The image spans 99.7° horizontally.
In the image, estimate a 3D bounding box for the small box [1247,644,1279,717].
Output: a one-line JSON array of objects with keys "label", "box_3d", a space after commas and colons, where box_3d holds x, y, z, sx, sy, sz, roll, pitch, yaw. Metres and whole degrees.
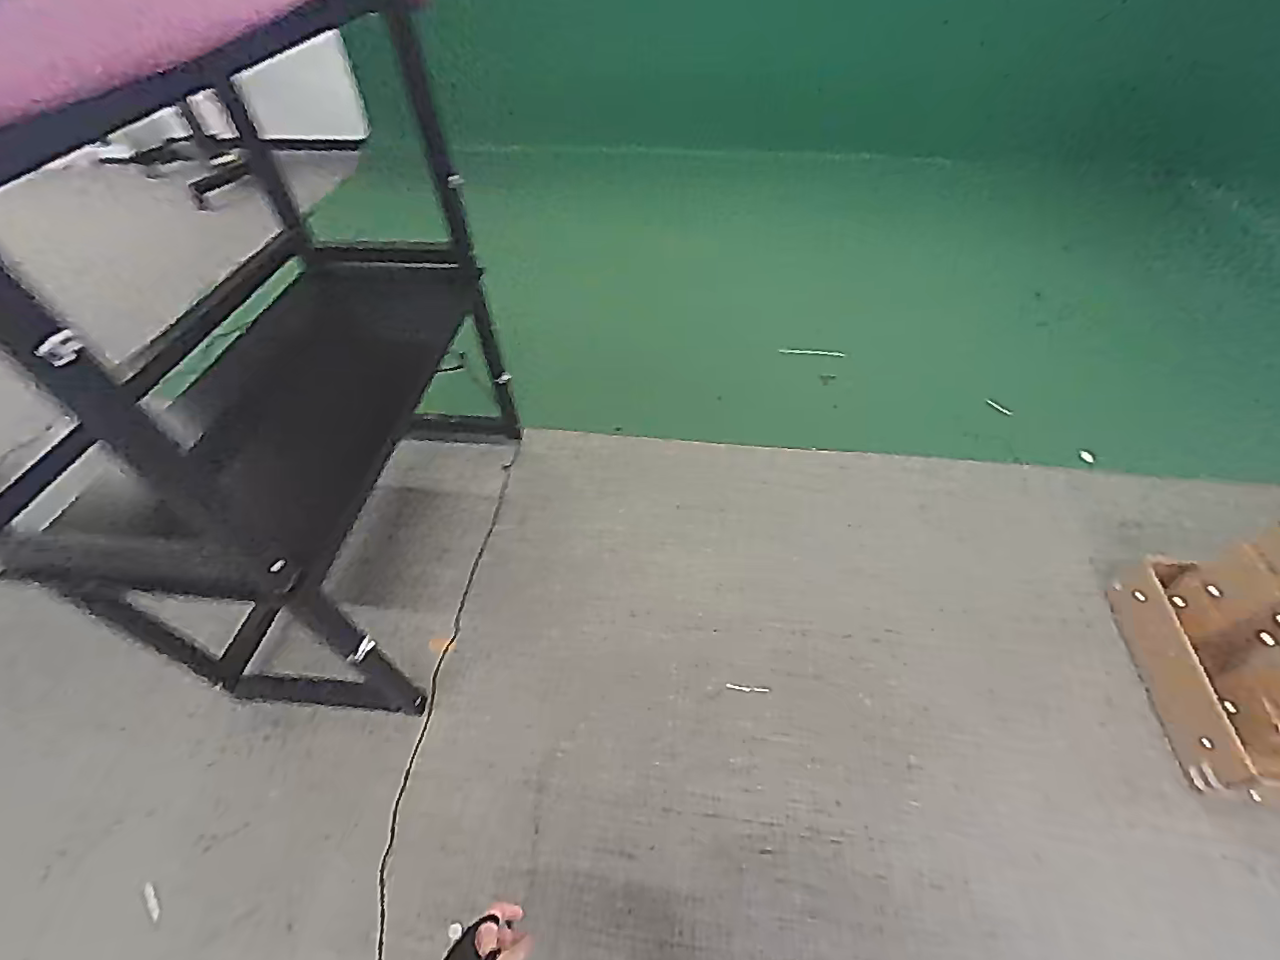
[{"label": "small box", "box_3d": [1.607, 0.473, 1.259, 0.168, 0.176, 0.179, 3, 49, 5]}]

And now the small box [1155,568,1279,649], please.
[{"label": "small box", "box_3d": [1.655, 0.373, 1.563, 0.179, 0.176, 0.168, 4, 50, 6]}]

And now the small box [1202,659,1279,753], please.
[{"label": "small box", "box_3d": [1.612, 0.583, 1.384, 0.179, 0.176, 0.168, 7, 49, 7]}]

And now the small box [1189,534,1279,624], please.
[{"label": "small box", "box_3d": [1.646, 0.266, 1.436, 0.168, 0.176, 0.179, 5, 52, 5]}]
